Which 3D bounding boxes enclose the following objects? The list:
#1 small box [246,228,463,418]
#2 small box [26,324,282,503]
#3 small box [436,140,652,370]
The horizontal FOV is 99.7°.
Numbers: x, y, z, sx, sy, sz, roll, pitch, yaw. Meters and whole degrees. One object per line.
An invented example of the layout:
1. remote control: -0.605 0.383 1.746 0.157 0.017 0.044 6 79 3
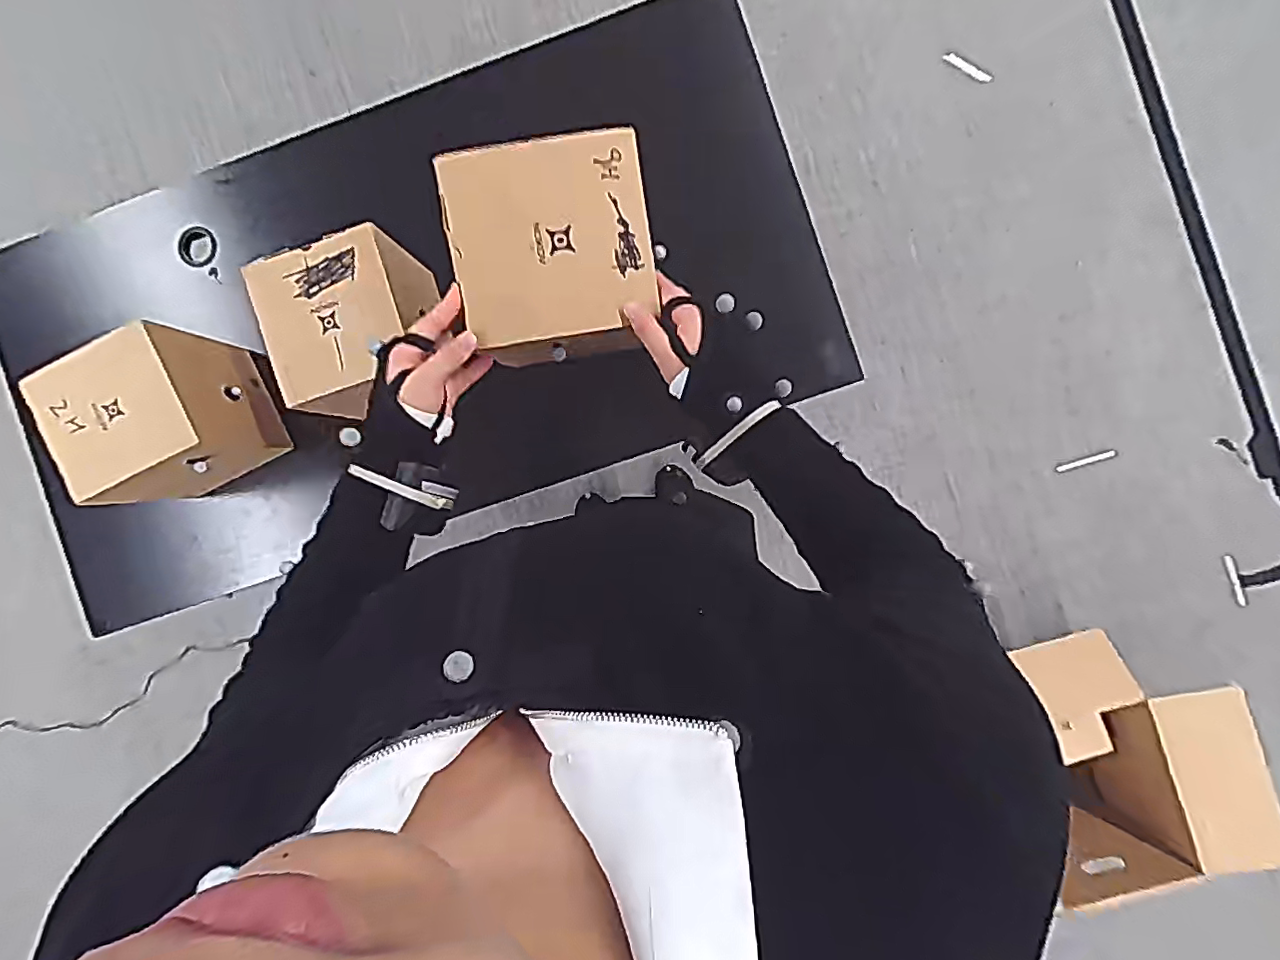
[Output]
1. small box: -0.360 -0.192 0.714 0.168 0.176 0.179 -17 91 3
2. small box: -0.628 -0.082 0.728 0.179 0.176 0.168 -25 89 4
3. small box: -0.084 -0.214 0.563 0.179 0.176 0.168 -9 96 0
